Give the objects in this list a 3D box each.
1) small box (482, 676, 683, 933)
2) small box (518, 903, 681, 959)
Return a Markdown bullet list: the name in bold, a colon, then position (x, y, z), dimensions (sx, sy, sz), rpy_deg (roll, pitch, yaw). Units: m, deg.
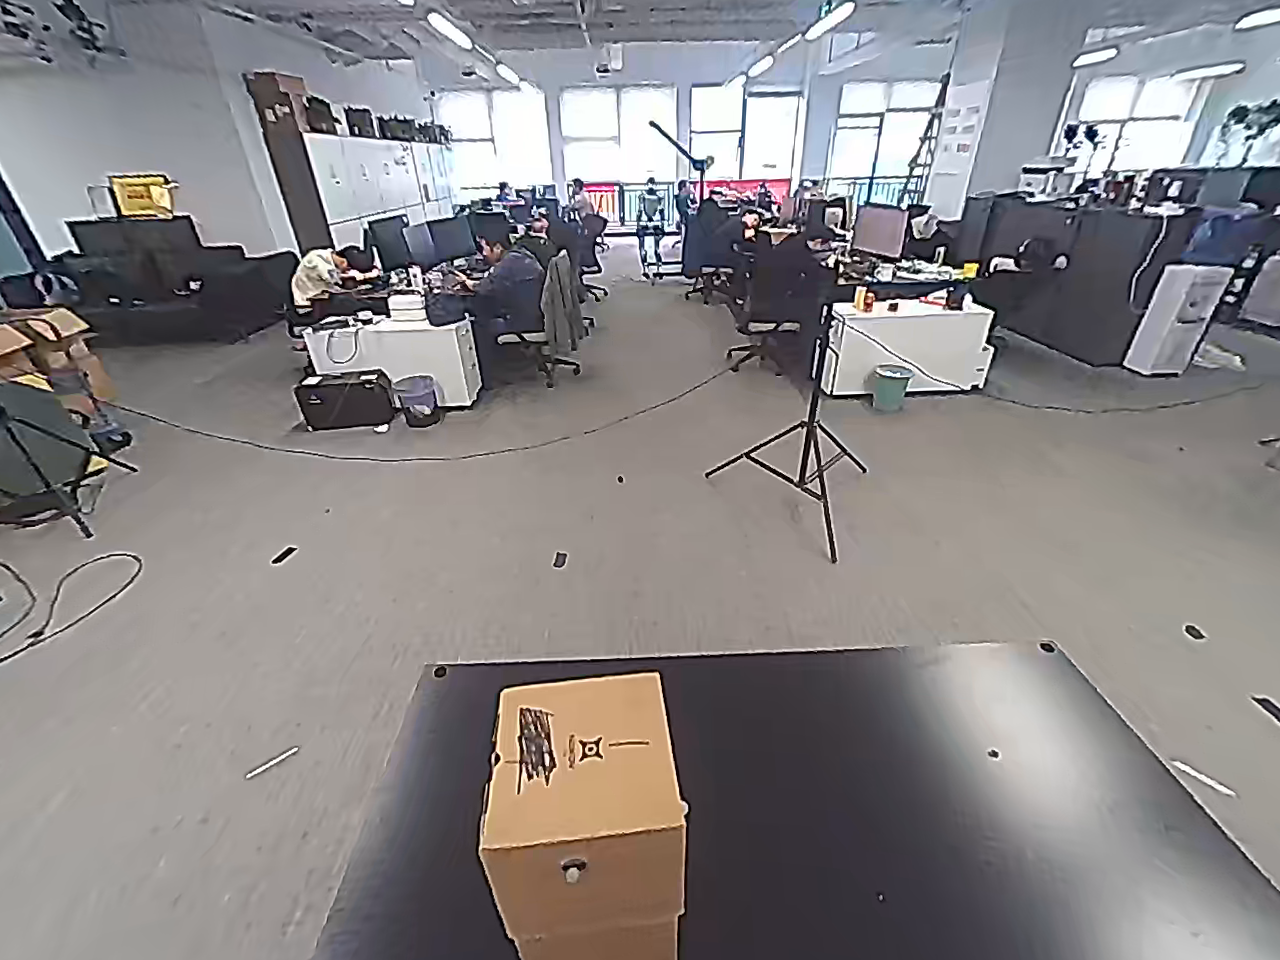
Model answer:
- **small box**: position (-0.052, 0.335, 0.566), dimensions (0.179, 0.176, 0.168), rpy_deg (-4, 30, -4)
- **small box**: position (-0.046, 0.475, 0.652), dimensions (0.168, 0.176, 0.179), rpy_deg (-5, 32, -4)
